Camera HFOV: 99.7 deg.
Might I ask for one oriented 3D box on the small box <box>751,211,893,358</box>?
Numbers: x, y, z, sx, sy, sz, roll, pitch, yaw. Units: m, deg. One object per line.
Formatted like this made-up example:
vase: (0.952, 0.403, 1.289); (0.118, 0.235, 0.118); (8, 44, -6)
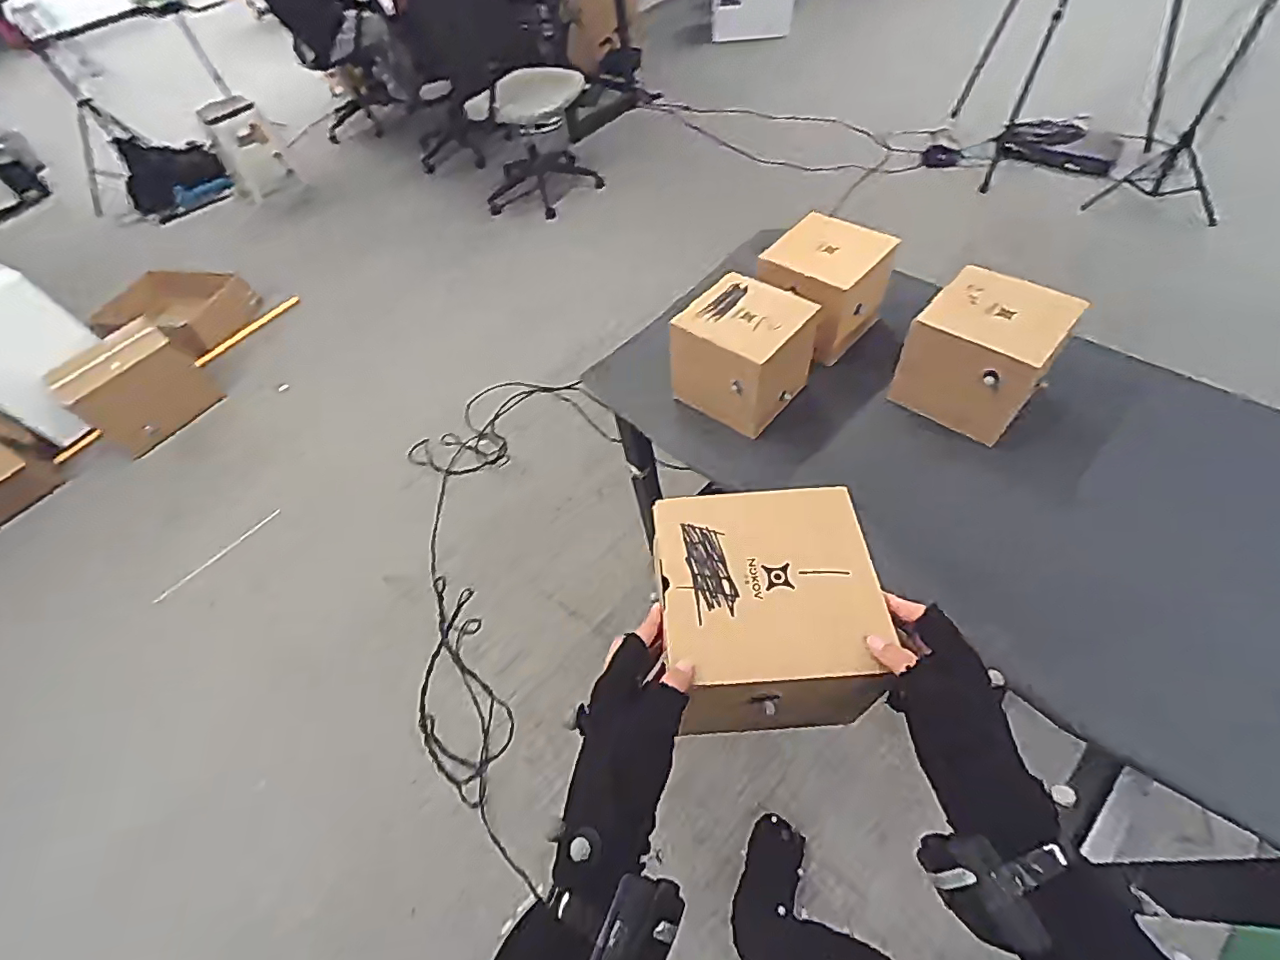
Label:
small box: (0.320, -0.348, 0.979); (0.179, 0.176, 0.168); (34, 67, 29)

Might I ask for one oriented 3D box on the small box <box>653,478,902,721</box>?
small box: (0.107, 0.117, 0.501); (0.179, 0.176, 0.168); (-4, 54, 2)

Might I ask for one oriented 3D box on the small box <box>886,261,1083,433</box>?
small box: (0.516, -0.197, 0.834); (0.179, 0.176, 0.168); (35, 67, 29)
